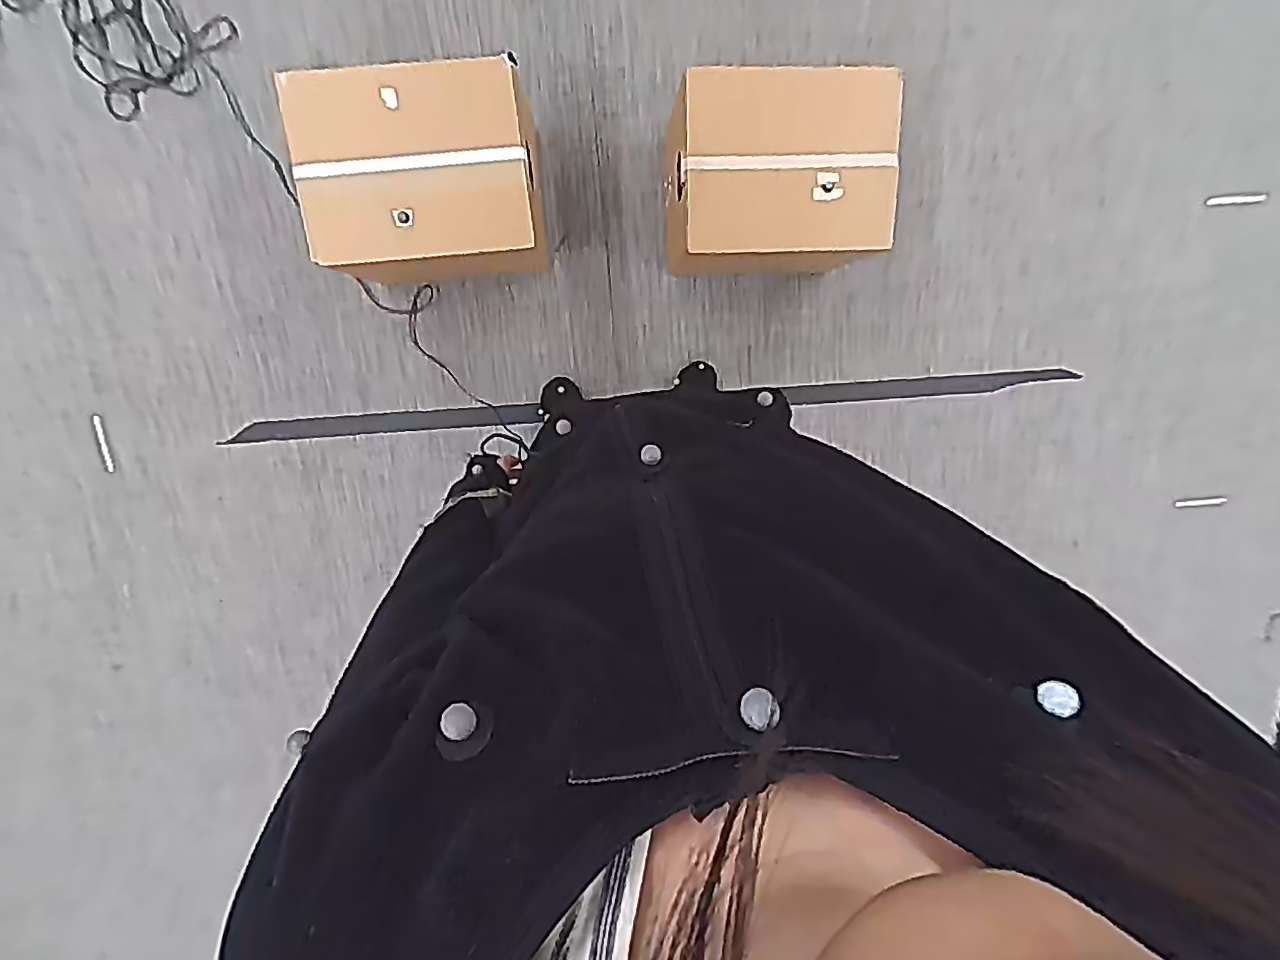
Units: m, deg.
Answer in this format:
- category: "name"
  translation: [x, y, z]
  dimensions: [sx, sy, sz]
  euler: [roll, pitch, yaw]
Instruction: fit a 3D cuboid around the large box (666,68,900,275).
- category: "large box"
  translation: [0.275, -0.630, 1.159]
  dimensions: [0.408, 0.320, 0.320]
  euler: [-2, 104, -4]
